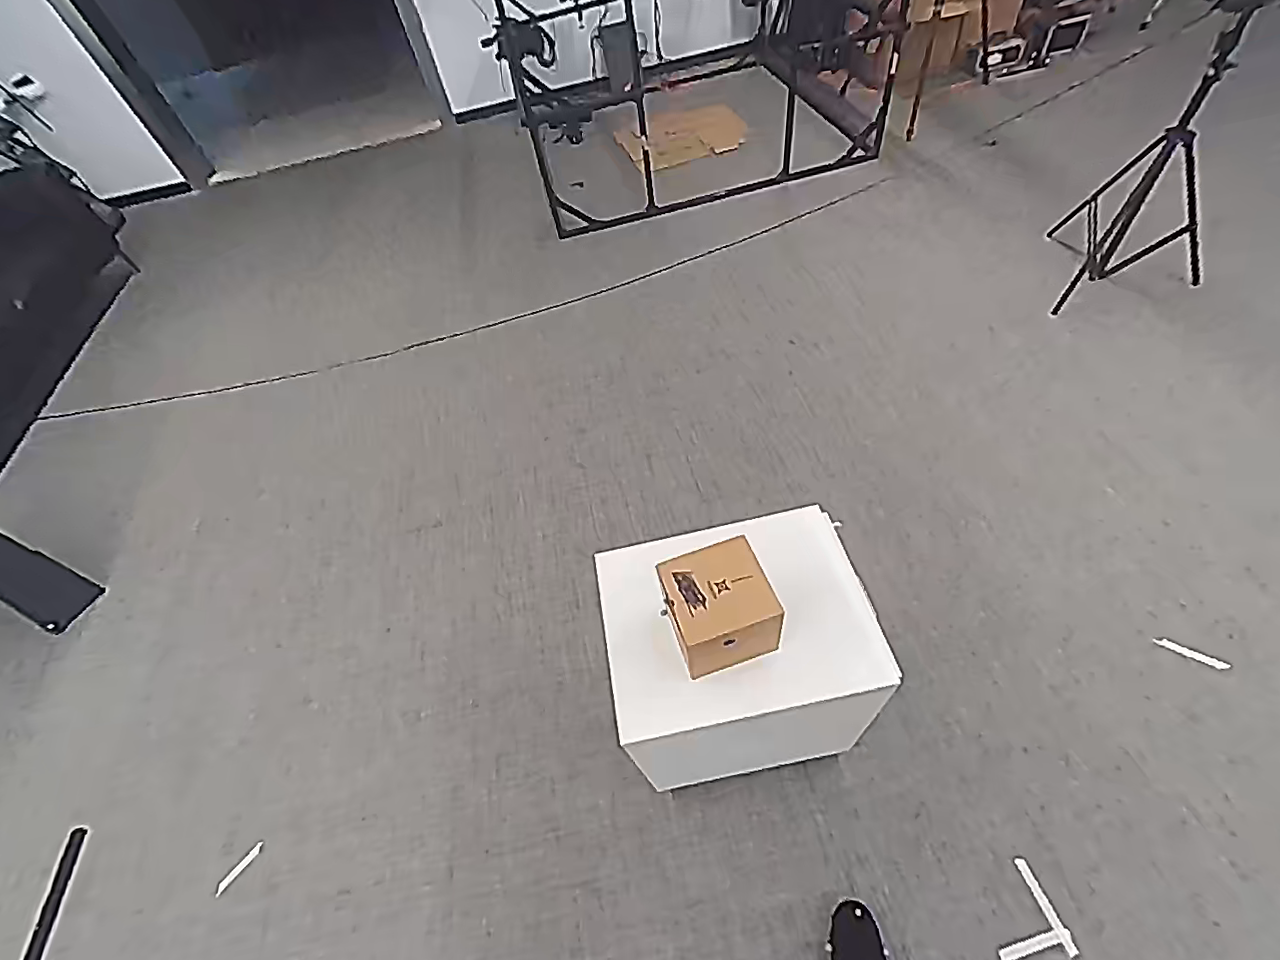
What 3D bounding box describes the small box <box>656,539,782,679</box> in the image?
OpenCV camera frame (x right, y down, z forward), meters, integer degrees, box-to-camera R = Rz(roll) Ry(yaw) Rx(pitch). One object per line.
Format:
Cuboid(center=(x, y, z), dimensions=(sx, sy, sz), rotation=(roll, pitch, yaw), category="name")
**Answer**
Cuboid(center=(0.143, 0.242, 0.992), dimensions=(0.179, 0.176, 0.168), rotation=(-18, 51, -5), category="small box")
